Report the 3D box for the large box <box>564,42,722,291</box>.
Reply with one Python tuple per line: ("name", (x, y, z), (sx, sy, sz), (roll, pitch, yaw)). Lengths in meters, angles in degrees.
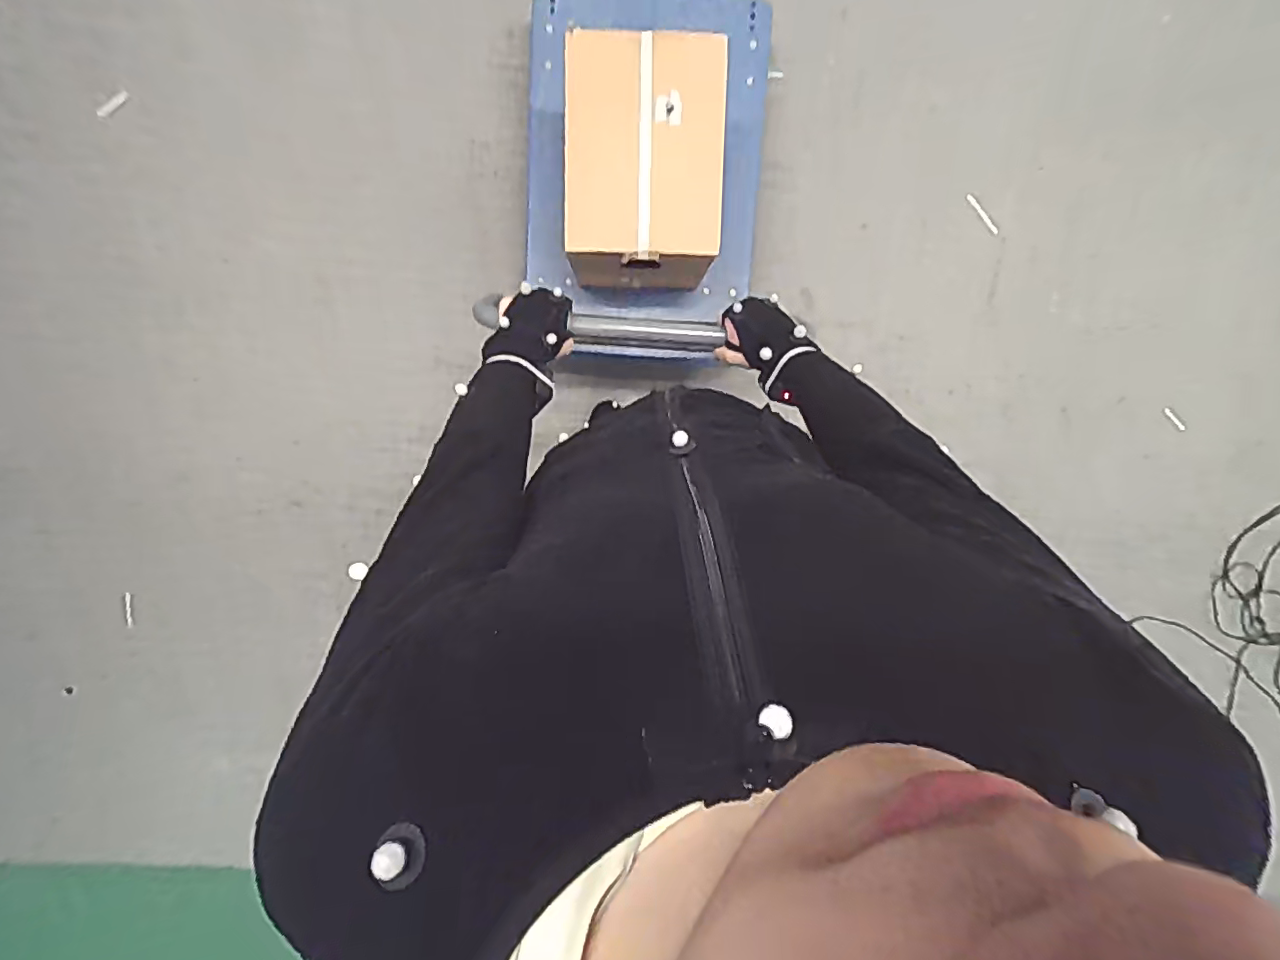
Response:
("large box", (0.005, -0.663, 1.217), (0.320, 0.320, 0.408), (1, 98, -2))
